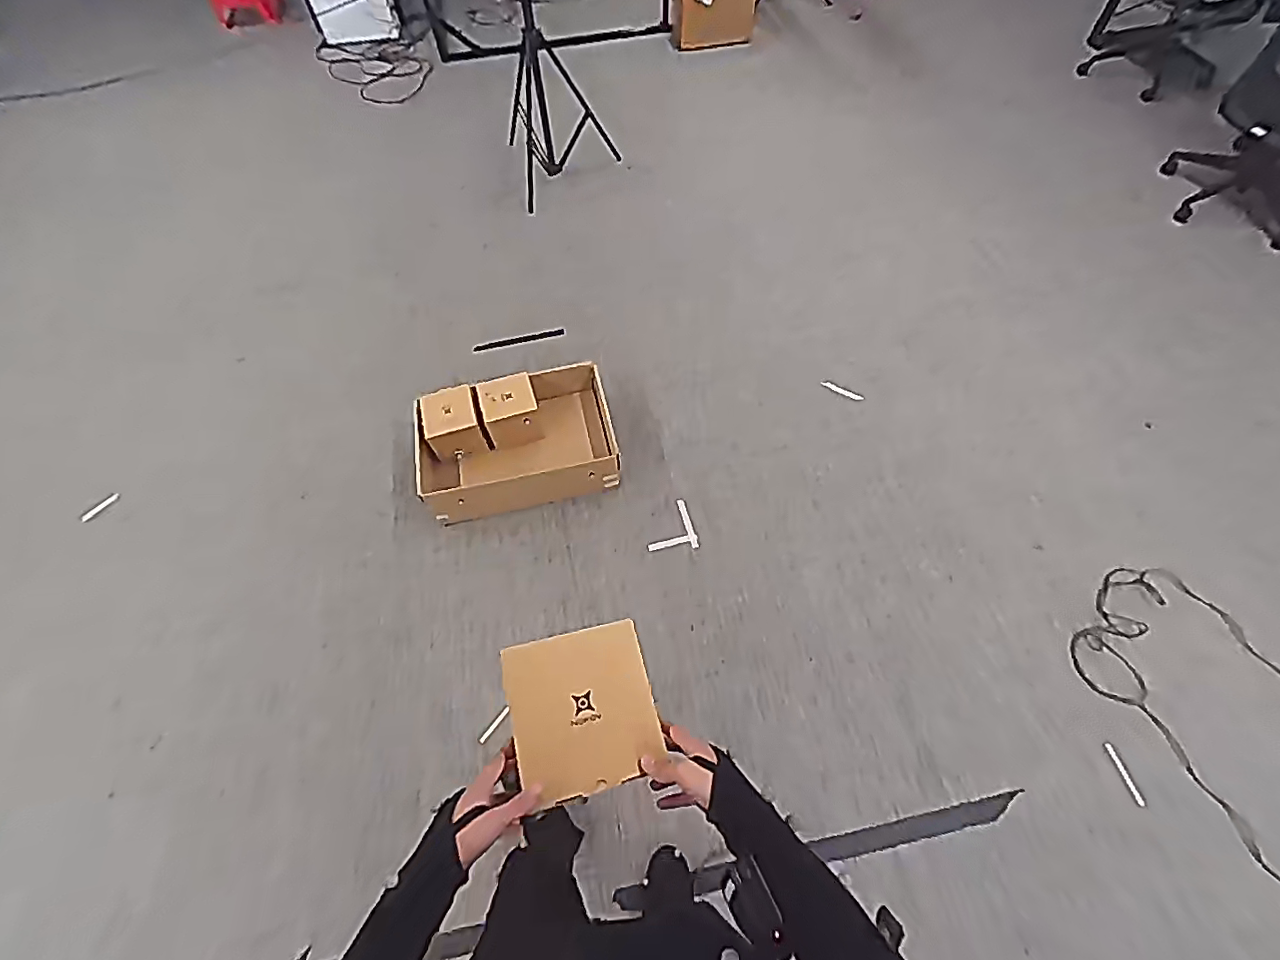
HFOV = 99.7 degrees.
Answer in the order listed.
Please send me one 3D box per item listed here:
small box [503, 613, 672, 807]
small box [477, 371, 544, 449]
[{"bbox_3d":[-0.077,0.290,0.686,0.168,0.176,0.179,-10,66,-16],"label":"small box"},{"bbox_3d":[-0.427,-0.231,1.806,0.179,0.176,0.168,-17,62,-8],"label":"small box"}]
